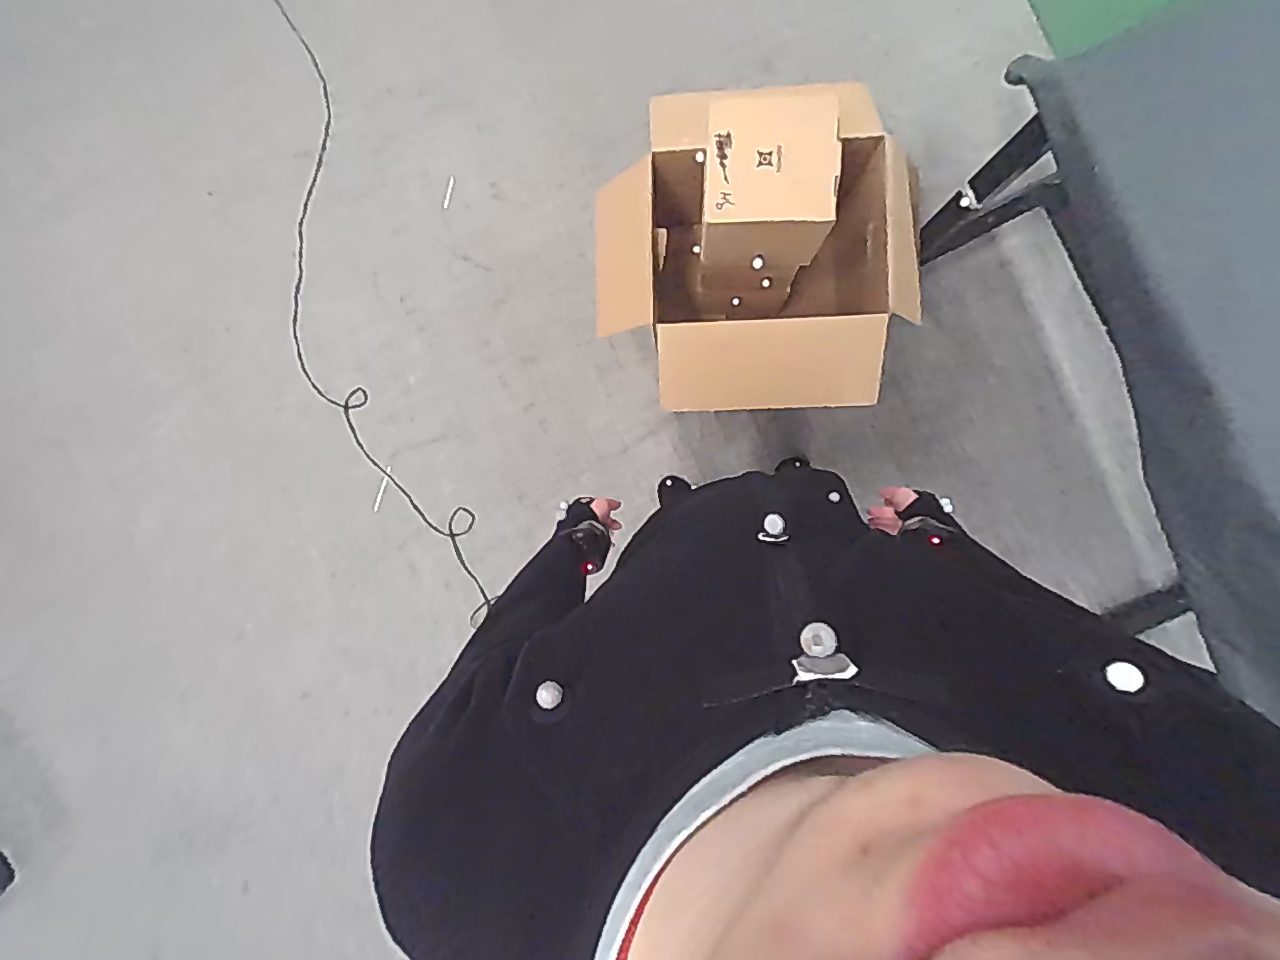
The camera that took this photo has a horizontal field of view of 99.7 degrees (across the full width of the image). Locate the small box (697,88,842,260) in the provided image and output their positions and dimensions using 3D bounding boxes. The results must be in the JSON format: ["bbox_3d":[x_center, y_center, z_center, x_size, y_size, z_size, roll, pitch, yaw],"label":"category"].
[{"bbox_3d":[0.179,-0.436,0.794,0.179,0.176,0.168,2,93,4],"label":"small box"}]
